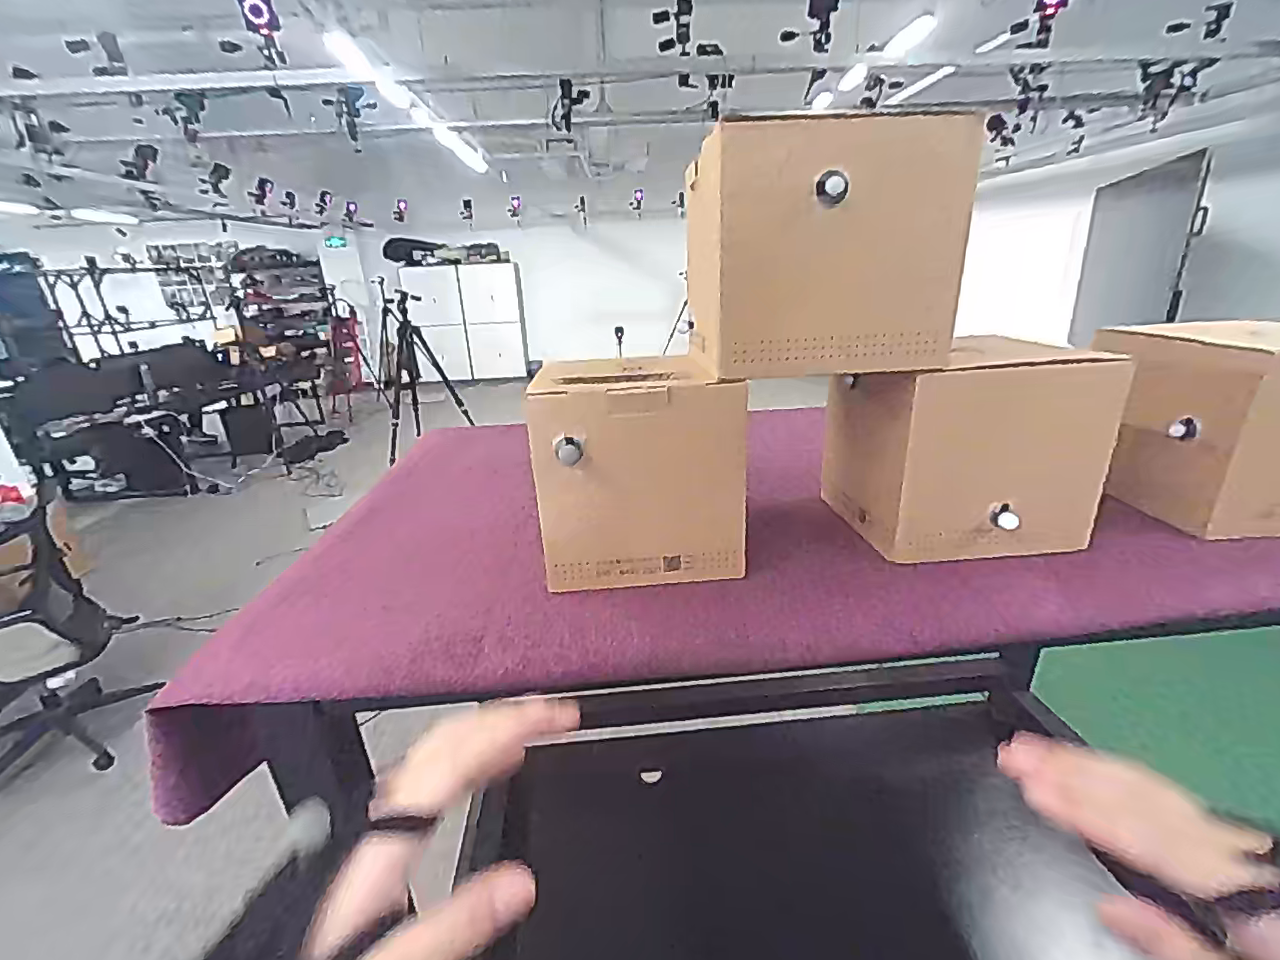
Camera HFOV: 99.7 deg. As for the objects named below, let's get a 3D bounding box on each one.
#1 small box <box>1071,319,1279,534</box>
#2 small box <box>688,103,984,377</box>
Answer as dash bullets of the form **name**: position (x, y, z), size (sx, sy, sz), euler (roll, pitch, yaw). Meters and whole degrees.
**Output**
- **small box**: position (0.570, -0.055, 0.518), size (0.168, 0.176, 0.179), euler (-2, 21, 1)
- **small box**: position (0.136, -0.180, 0.442), size (0.179, 0.176, 0.168), euler (-3, 20, -1)
